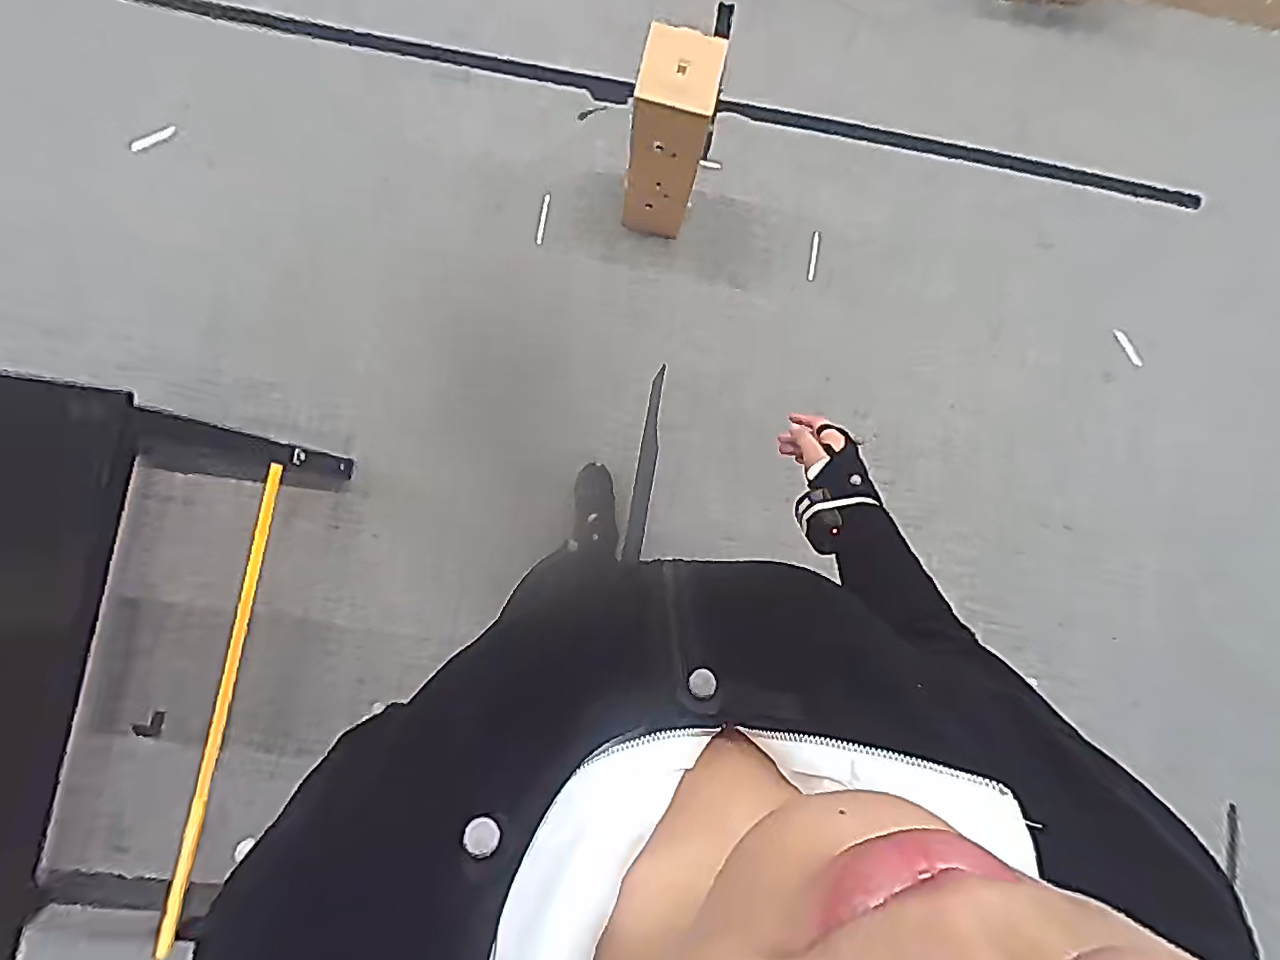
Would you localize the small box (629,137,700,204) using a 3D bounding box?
[{"bbox_3d":[0.071,-0.825,1.335,0.168,0.176,0.179,13,85,-3],"label":"small box"}]

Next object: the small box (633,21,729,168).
[{"bbox_3d":[0.081,-0.825,1.172,0.168,0.176,0.179,12,86,-2],"label":"small box"}]

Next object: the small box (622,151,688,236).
[{"bbox_3d":[0.051,-0.808,1.498,0.179,0.176,0.168,13,85,-4],"label":"small box"}]
